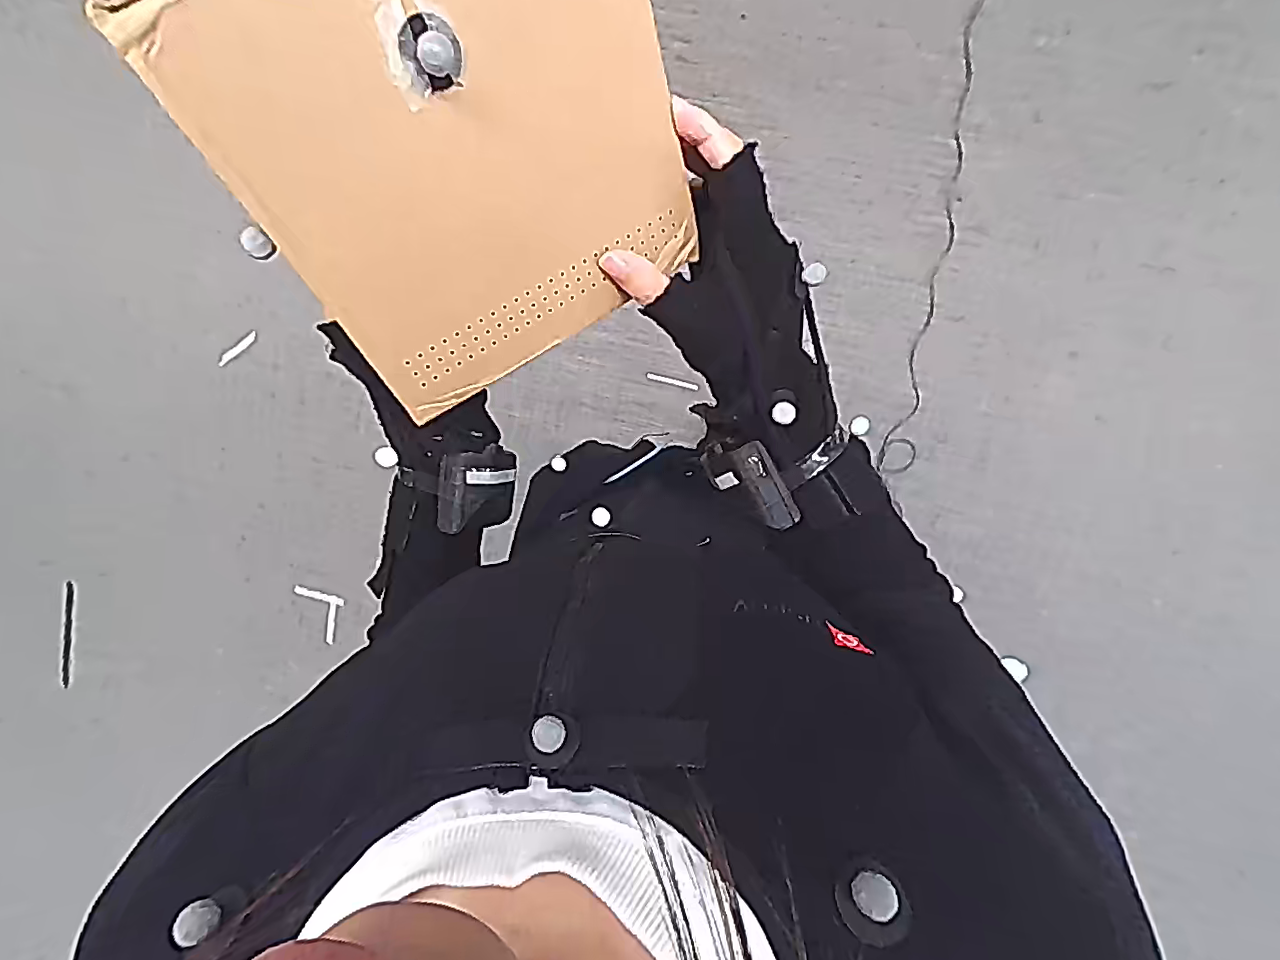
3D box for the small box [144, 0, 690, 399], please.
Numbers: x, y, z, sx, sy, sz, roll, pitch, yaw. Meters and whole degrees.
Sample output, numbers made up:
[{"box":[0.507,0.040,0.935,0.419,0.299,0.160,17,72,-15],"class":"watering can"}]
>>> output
[{"box":[-0.097,-0.174,0.291,0.179,0.176,0.168,-33,46,-9],"class":"small box"}]
